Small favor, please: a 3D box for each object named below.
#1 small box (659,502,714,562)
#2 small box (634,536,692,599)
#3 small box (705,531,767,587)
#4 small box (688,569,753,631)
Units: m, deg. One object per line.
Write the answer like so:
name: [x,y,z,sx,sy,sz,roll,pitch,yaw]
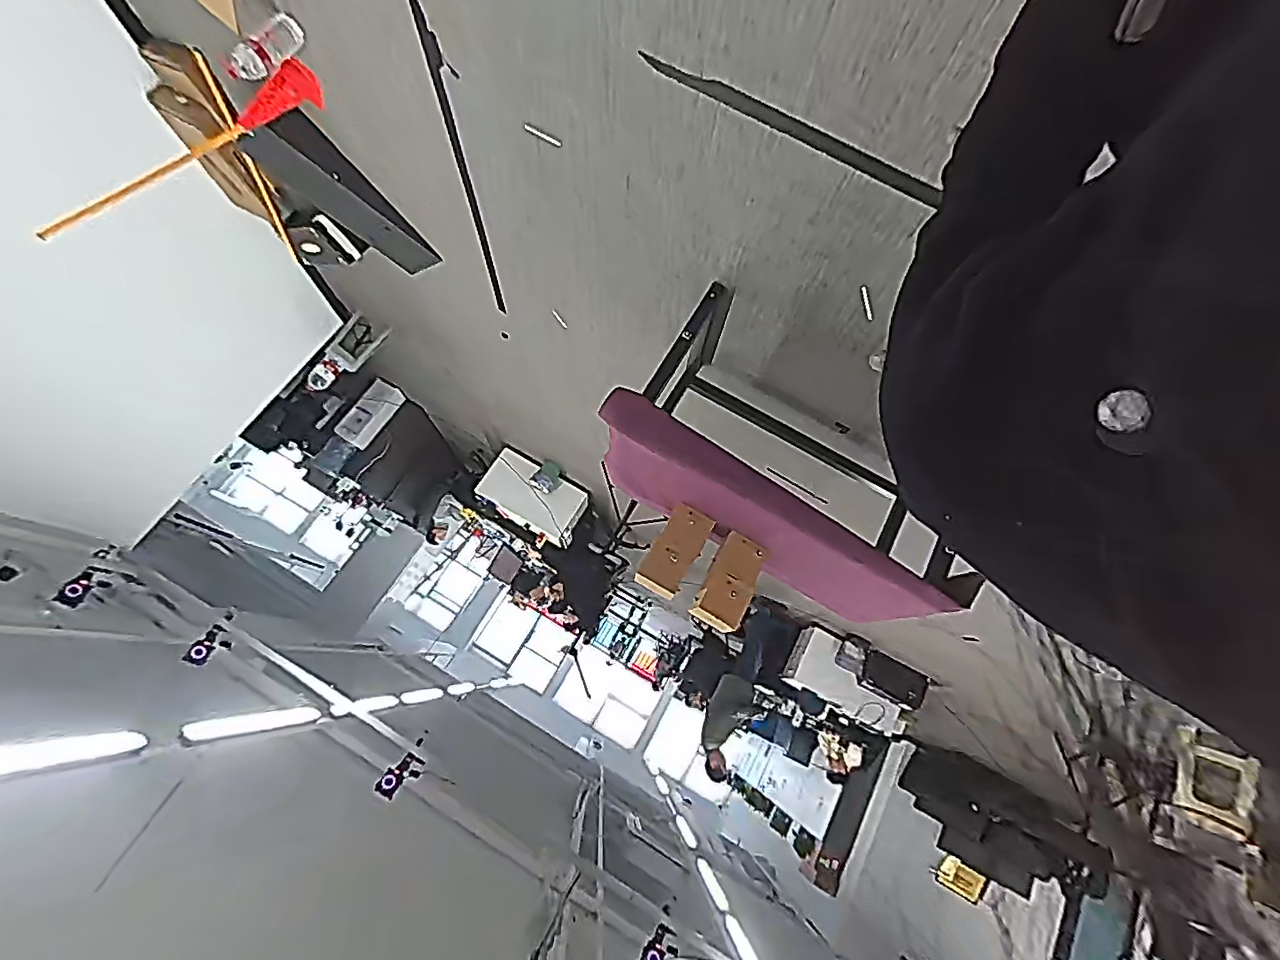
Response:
small box: [0.176,0.212,2.160,0.168,0.176,0.179,29,161,5]
small box: [0.091,0.342,2.113,0.168,0.176,0.179,28,160,7]
small box: [0.378,0.319,2.120,0.168,0.176,0.179,30,162,6]
small box: [0.309,0.459,2.071,0.168,0.176,0.179,31,160,3]
